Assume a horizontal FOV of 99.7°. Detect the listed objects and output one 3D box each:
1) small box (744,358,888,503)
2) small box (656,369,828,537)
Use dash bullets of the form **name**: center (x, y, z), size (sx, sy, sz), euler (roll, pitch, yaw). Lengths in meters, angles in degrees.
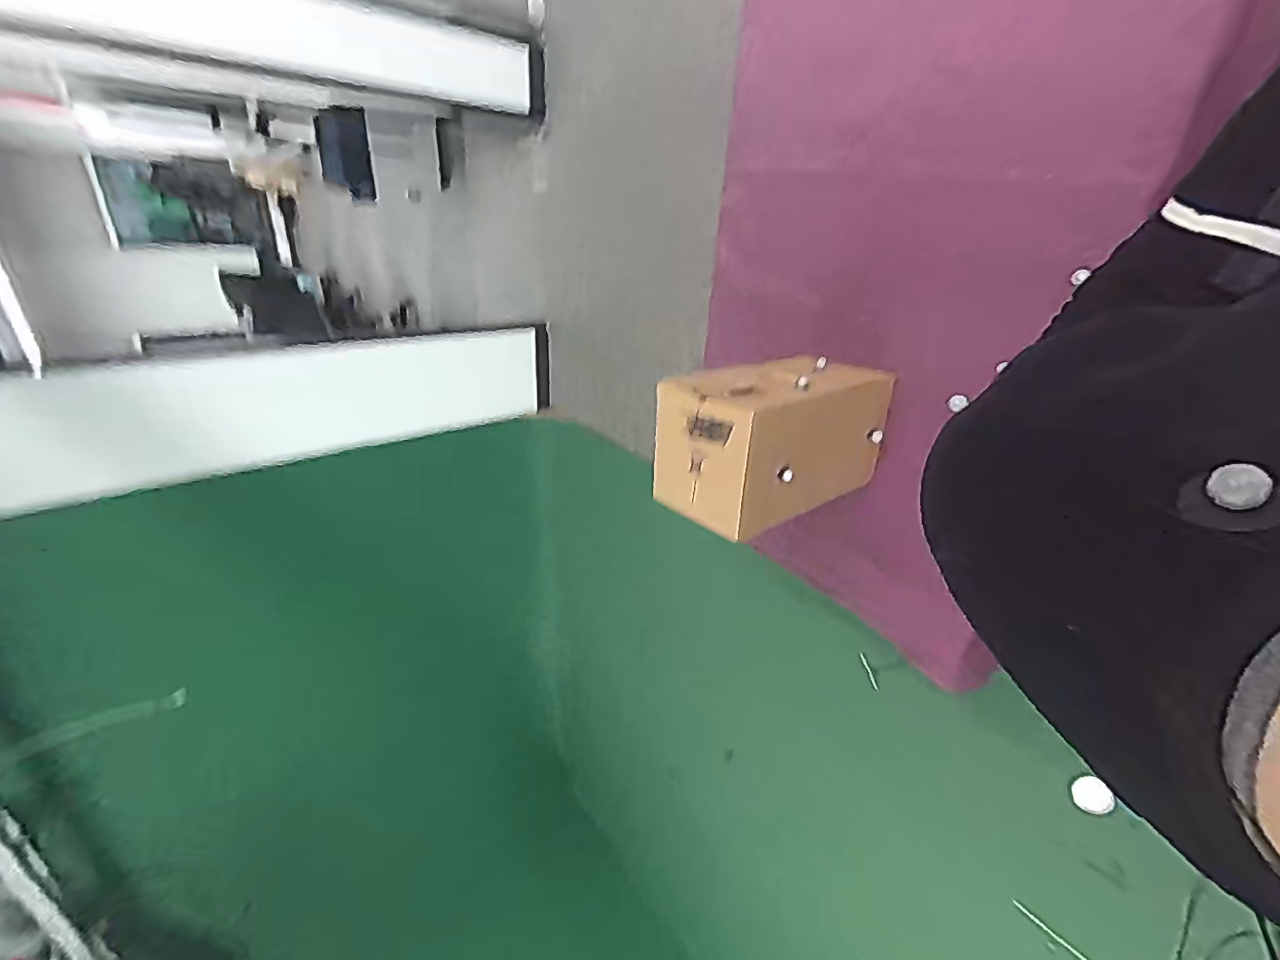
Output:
- **small box**: center (0.269, -0.090, 0.862), size (0.168, 0.176, 0.179), euler (28, 125, 44)
- **small box**: center (0.142, -0.051, 0.764), size (0.168, 0.176, 0.179), euler (28, 126, 44)
